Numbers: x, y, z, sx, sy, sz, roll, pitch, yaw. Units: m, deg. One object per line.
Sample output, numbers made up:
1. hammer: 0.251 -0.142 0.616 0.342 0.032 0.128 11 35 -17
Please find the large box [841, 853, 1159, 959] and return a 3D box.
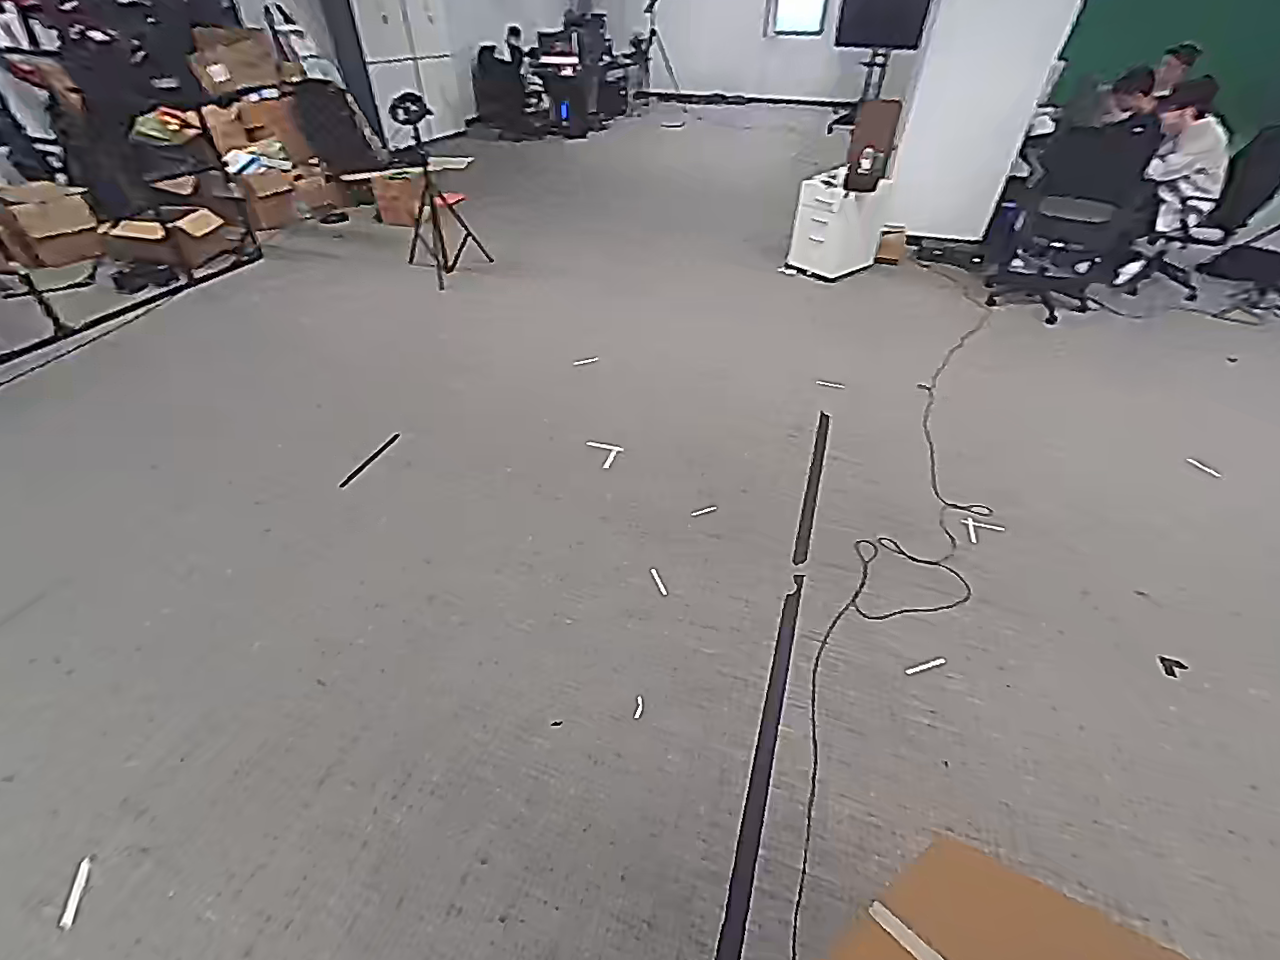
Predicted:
1. large box: 0.460 0.707 0.578 0.320 0.408 0.320 -34 78 -14
